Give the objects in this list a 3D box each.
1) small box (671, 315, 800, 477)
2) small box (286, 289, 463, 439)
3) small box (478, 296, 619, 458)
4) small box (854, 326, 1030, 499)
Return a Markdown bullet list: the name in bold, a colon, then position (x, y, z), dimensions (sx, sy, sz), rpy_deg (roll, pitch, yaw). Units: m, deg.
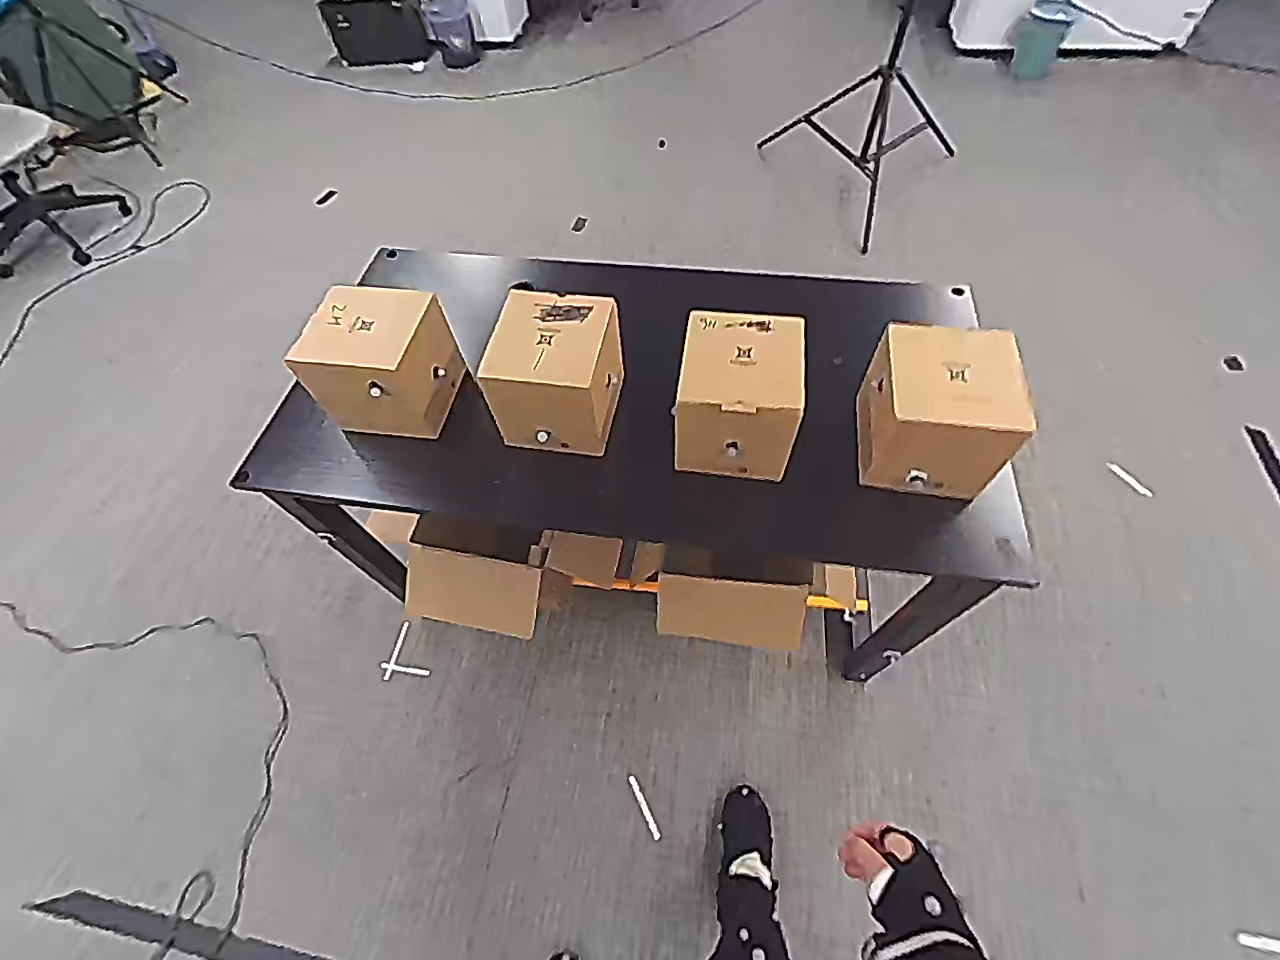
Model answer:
- **small box**: position (0.141, -0.121, 0.813), dimensions (0.168, 0.176, 0.179), rpy_deg (6, 59, 7)
- **small box**: position (-0.412, -0.183, 0.879), dimensions (0.179, 0.176, 0.168), rpy_deg (6, 58, 6)
- **small box**: position (-0.130, -0.159, 0.851), dimensions (0.168, 0.176, 0.179), rpy_deg (7, 59, 8)
- **small box**: position (0.416, -0.096, 0.781), dimensions (0.168, 0.176, 0.179), rpy_deg (6, 59, 9)
